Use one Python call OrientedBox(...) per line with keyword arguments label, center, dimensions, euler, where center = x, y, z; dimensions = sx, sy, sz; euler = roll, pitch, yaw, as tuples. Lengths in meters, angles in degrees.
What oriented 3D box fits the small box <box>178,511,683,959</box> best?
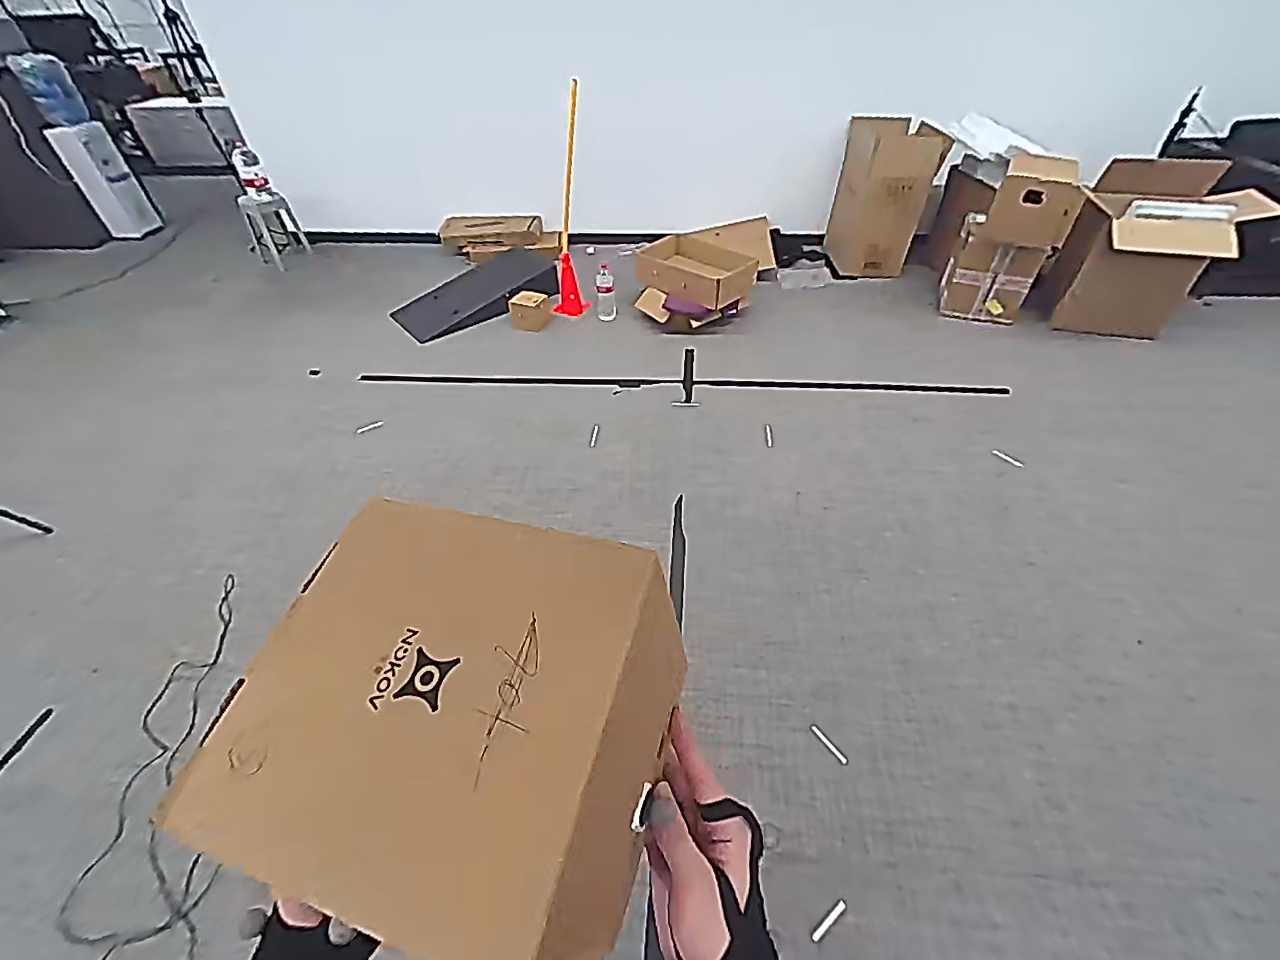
OrientedBox(label="small box", center=(-0.083, 0.140, 0.311), dimensions=(0.179, 0.176, 0.168), euler=(8, 57, 17))
